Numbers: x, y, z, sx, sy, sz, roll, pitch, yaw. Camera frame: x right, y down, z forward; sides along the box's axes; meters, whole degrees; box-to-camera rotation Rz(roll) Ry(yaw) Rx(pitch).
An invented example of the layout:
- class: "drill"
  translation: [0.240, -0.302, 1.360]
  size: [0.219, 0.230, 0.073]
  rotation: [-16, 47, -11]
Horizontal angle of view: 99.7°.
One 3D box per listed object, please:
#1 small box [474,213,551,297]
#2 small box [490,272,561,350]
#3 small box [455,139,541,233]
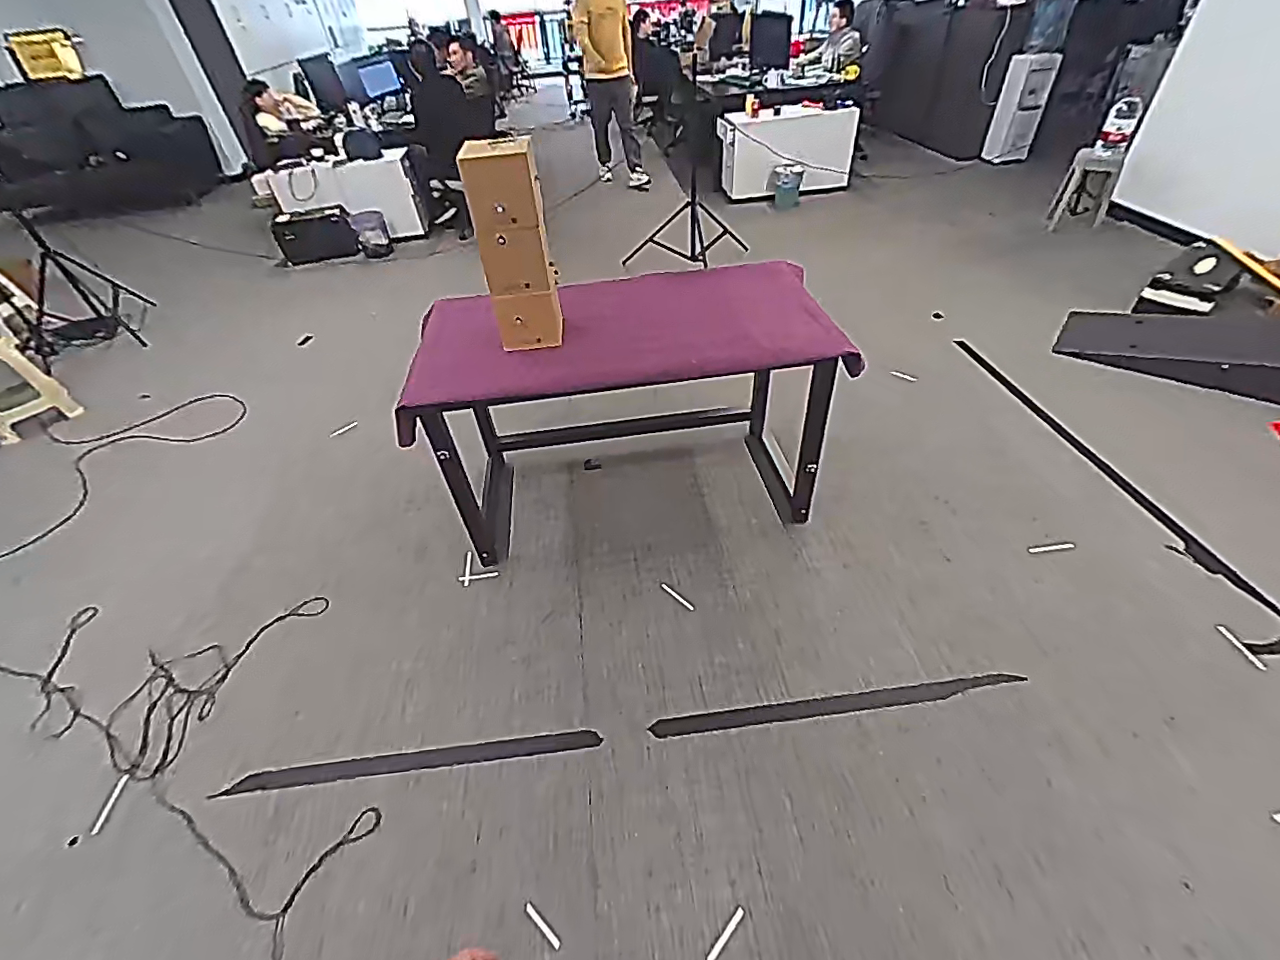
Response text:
- class: "small box"
  translation: [-0.338, -0.615, 1.468]
  size: [0.168, 0.176, 0.179]
  rotation: [-8, 42, -2]
- class: "small box"
  translation: [-0.325, -0.491, 1.574]
  size: [0.168, 0.176, 0.179]
  rotation: [-7, 42, -1]
- class: "small box"
  translation: [-0.346, -0.735, 1.355]
  size: [0.168, 0.176, 0.179]
  rotation: [-7, 43, -1]
